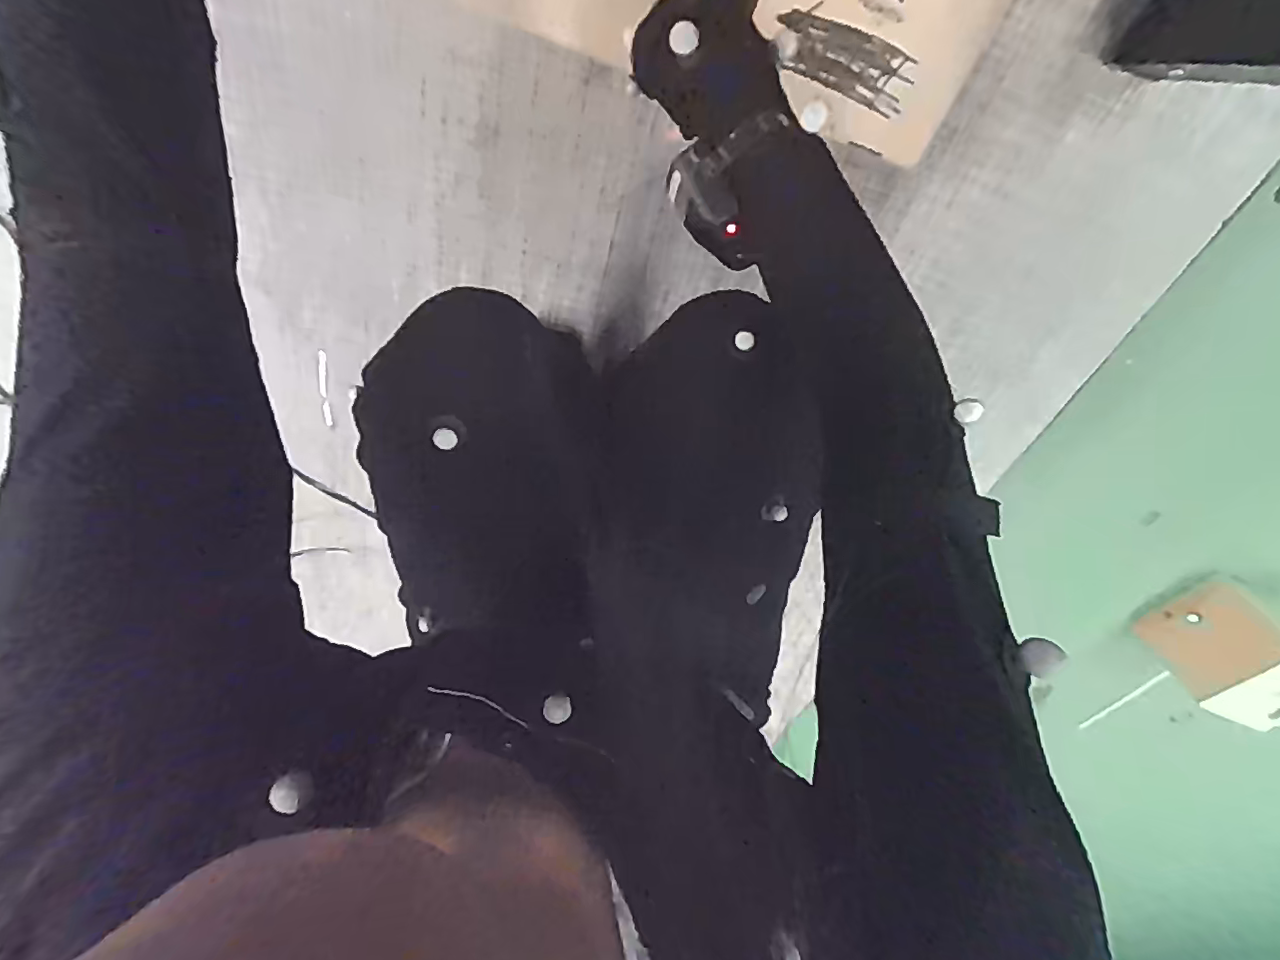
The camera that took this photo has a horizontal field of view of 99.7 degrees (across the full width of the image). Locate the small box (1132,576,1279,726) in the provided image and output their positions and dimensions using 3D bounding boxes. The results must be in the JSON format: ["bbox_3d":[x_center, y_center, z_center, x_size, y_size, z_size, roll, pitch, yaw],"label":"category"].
[{"bbox_3d":[1.036,0.293,0.940,0.179,0.176,0.168,22,124,-14],"label":"small box"}]
